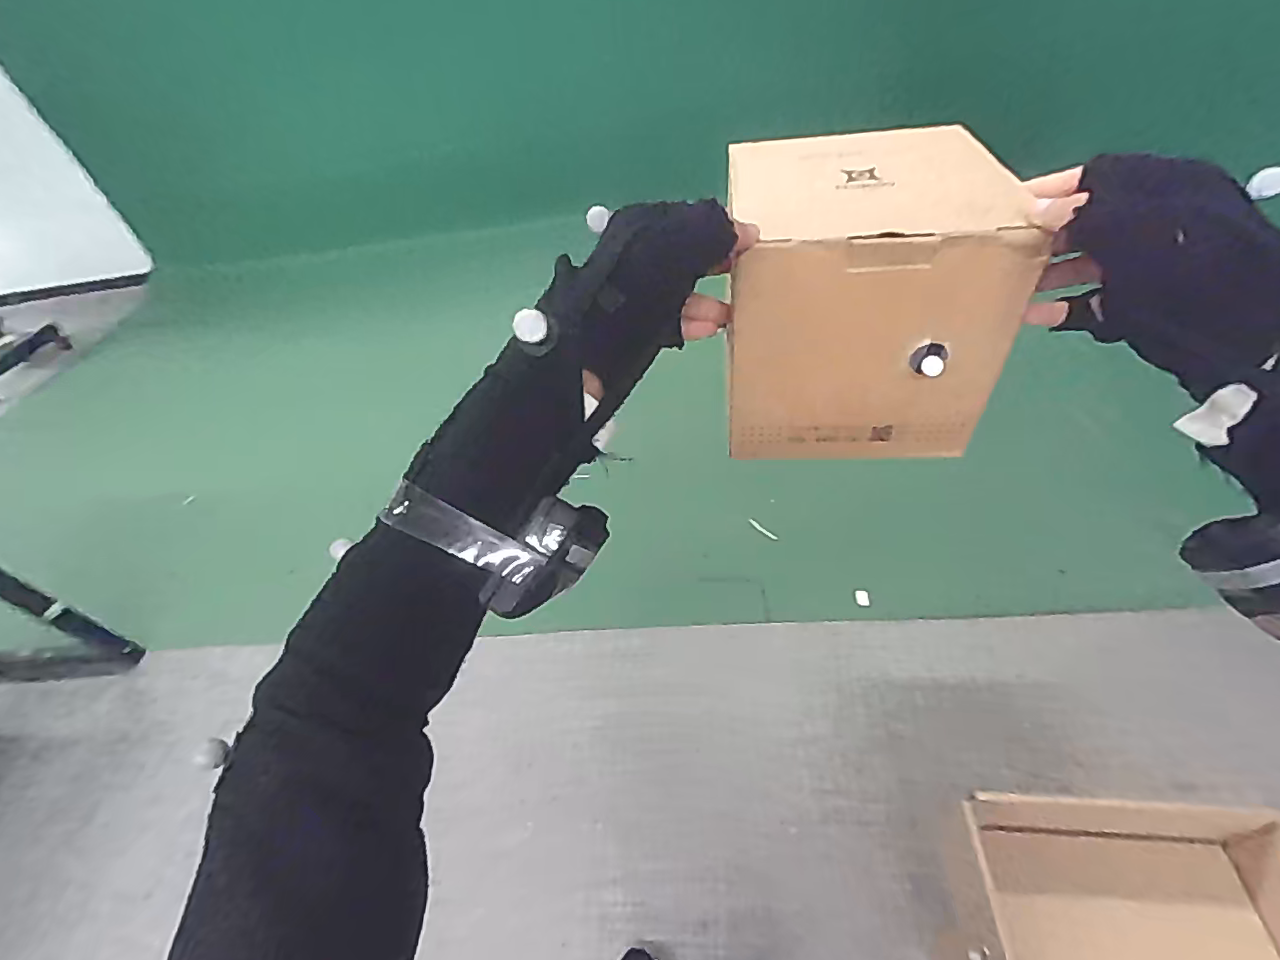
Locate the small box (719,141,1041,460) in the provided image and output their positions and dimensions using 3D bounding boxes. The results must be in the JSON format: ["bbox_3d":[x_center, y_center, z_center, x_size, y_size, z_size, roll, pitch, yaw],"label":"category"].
[{"bbox_3d":[0.145,-0.127,0.405,0.168,0.176,0.179,0,46,7],"label":"small box"}]
